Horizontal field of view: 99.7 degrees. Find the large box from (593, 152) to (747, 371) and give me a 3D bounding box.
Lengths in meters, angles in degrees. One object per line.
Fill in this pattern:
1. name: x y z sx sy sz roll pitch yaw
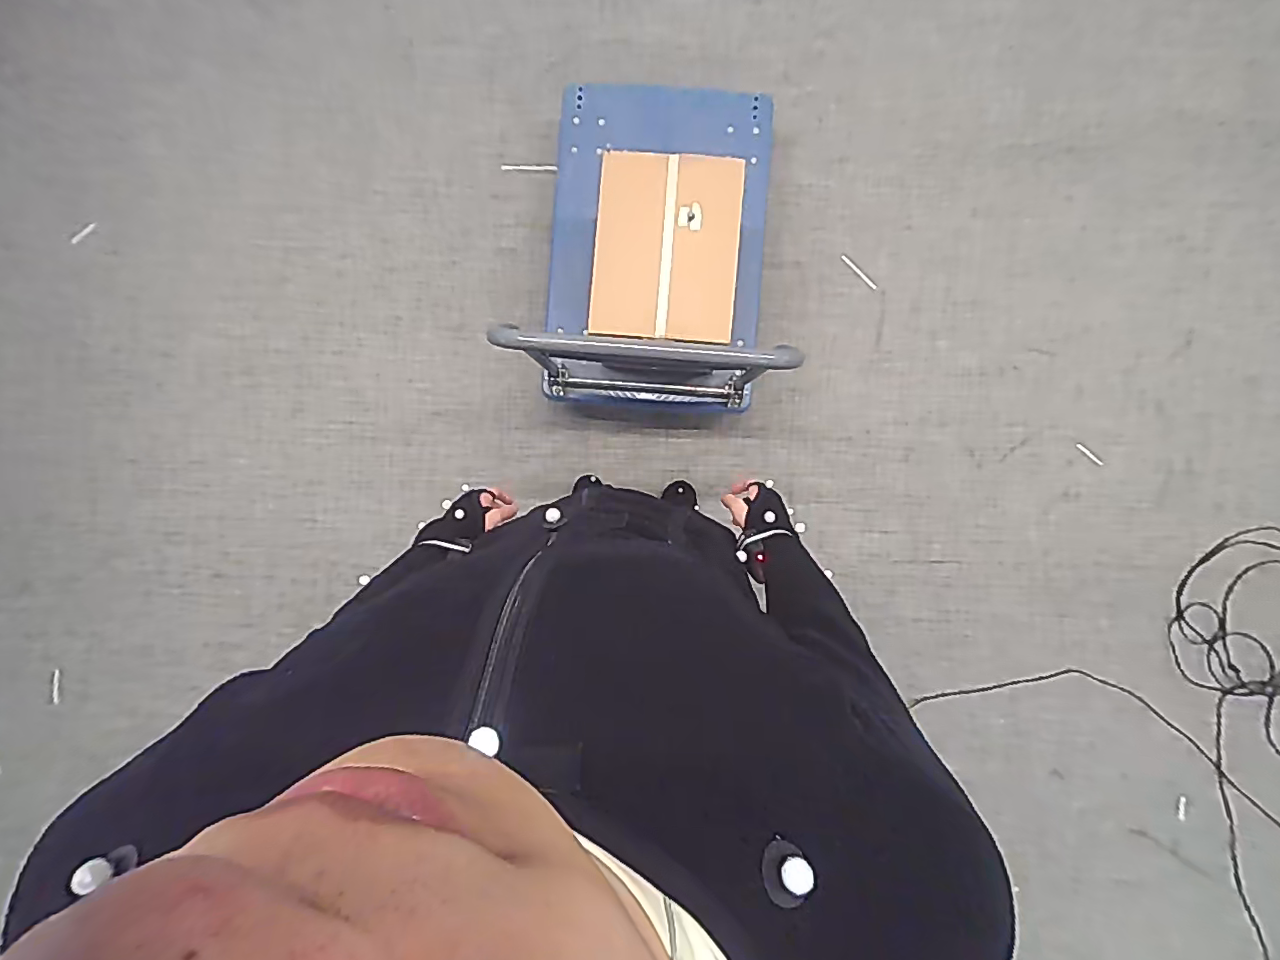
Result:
1. large box: 0.068 -0.497 1.307 0.320 0.320 0.408 5 89 1
